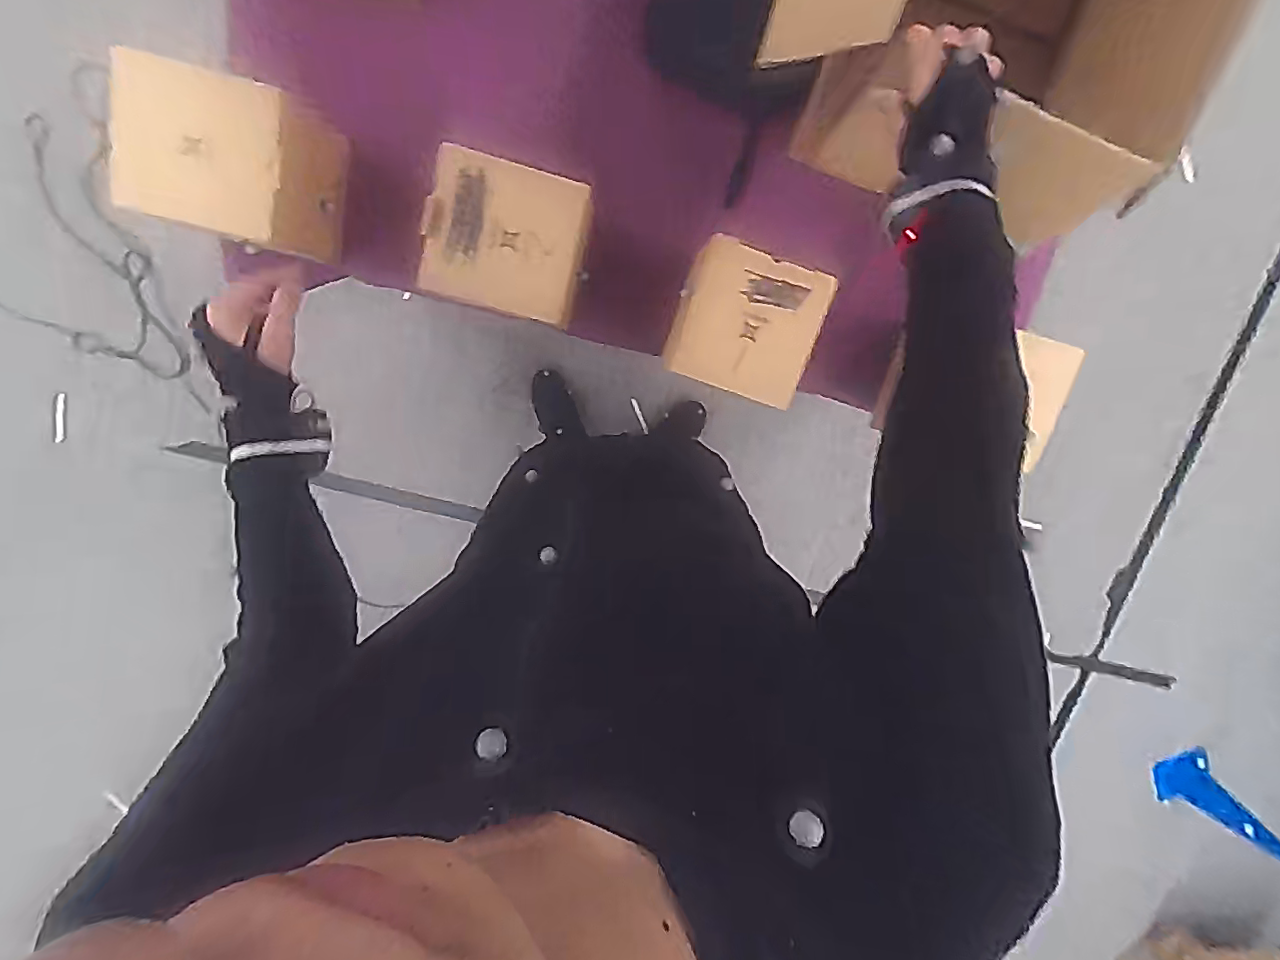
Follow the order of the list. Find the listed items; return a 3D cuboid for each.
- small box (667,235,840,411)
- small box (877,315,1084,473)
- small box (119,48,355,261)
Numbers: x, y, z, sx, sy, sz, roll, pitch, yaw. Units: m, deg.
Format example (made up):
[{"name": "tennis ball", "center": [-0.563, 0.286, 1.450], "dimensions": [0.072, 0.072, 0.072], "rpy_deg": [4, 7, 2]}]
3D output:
[{"name": "small box", "center": [0.142, -0.214, 0.758], "dimensions": [0.168, 0.176, 0.179], "rpy_deg": [18, 103, -7]}, {"name": "small box", "center": [0.479, -0.129, 0.794], "dimensions": [0.168, 0.176, 0.179], "rpy_deg": [14, 103, -5]}, {"name": "small box", "center": [-0.494, -0.389, 0.684], "dimensions": [0.179, 0.176, 0.168], "rpy_deg": [12, 103, -7]}]
